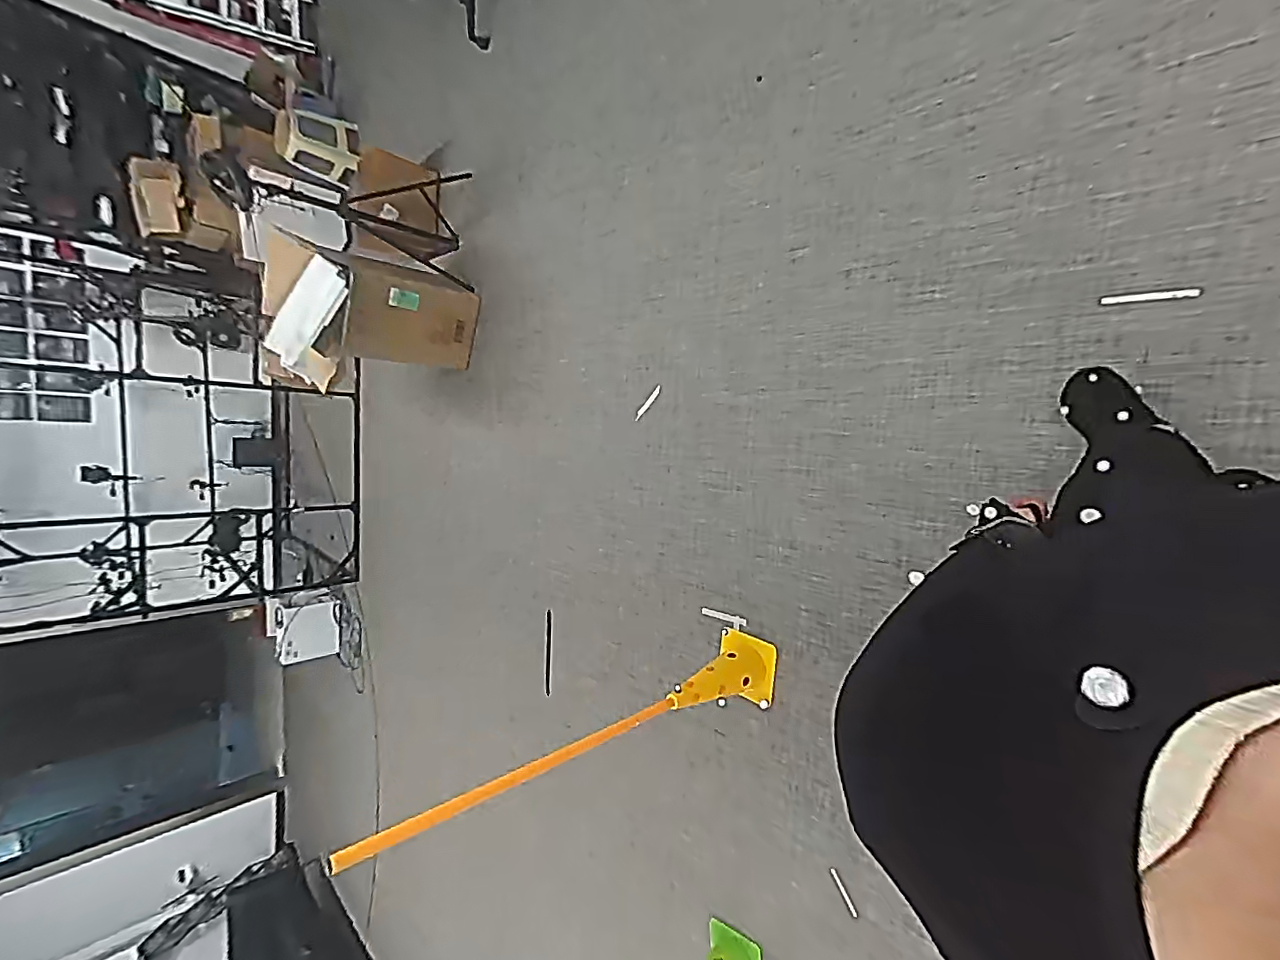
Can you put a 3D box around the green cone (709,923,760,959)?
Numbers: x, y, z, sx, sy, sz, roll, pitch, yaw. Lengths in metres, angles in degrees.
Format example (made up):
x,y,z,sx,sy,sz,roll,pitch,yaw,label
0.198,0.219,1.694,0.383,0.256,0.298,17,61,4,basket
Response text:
x,y,z,sx,sy,sz,roll,pitch,yaw,label
0.183,1.555,1.603,0.200,0.368,0.202,-7,85,45,green cone
